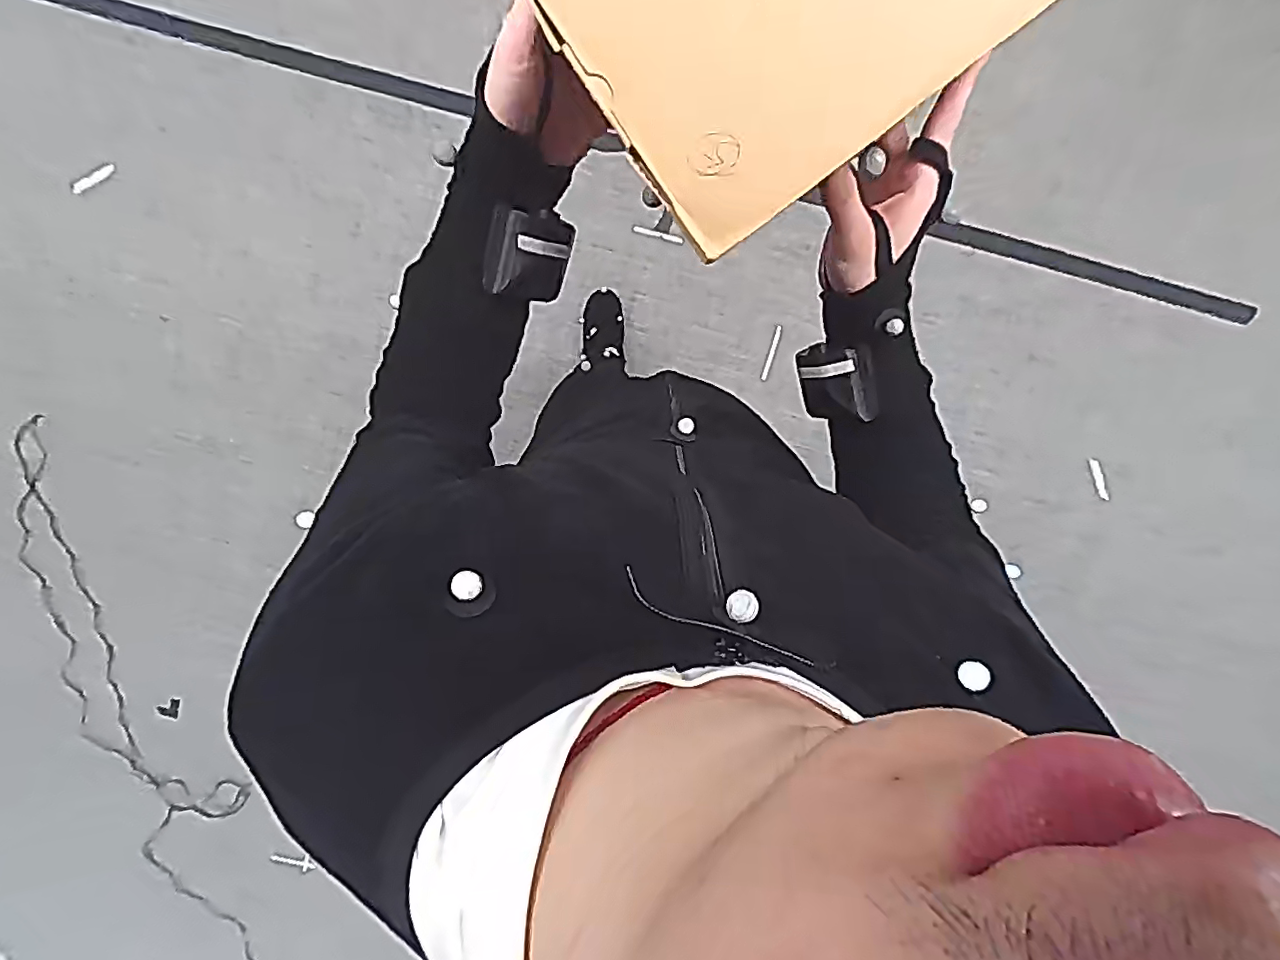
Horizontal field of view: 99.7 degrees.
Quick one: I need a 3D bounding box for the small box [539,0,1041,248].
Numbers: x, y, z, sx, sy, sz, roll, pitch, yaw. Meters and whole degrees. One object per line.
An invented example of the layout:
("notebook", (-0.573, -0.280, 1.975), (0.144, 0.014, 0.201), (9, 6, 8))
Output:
("small box", (0.064, -0.243, 0.270), (0.179, 0.176, 0.168), (-33, 107, 22))
